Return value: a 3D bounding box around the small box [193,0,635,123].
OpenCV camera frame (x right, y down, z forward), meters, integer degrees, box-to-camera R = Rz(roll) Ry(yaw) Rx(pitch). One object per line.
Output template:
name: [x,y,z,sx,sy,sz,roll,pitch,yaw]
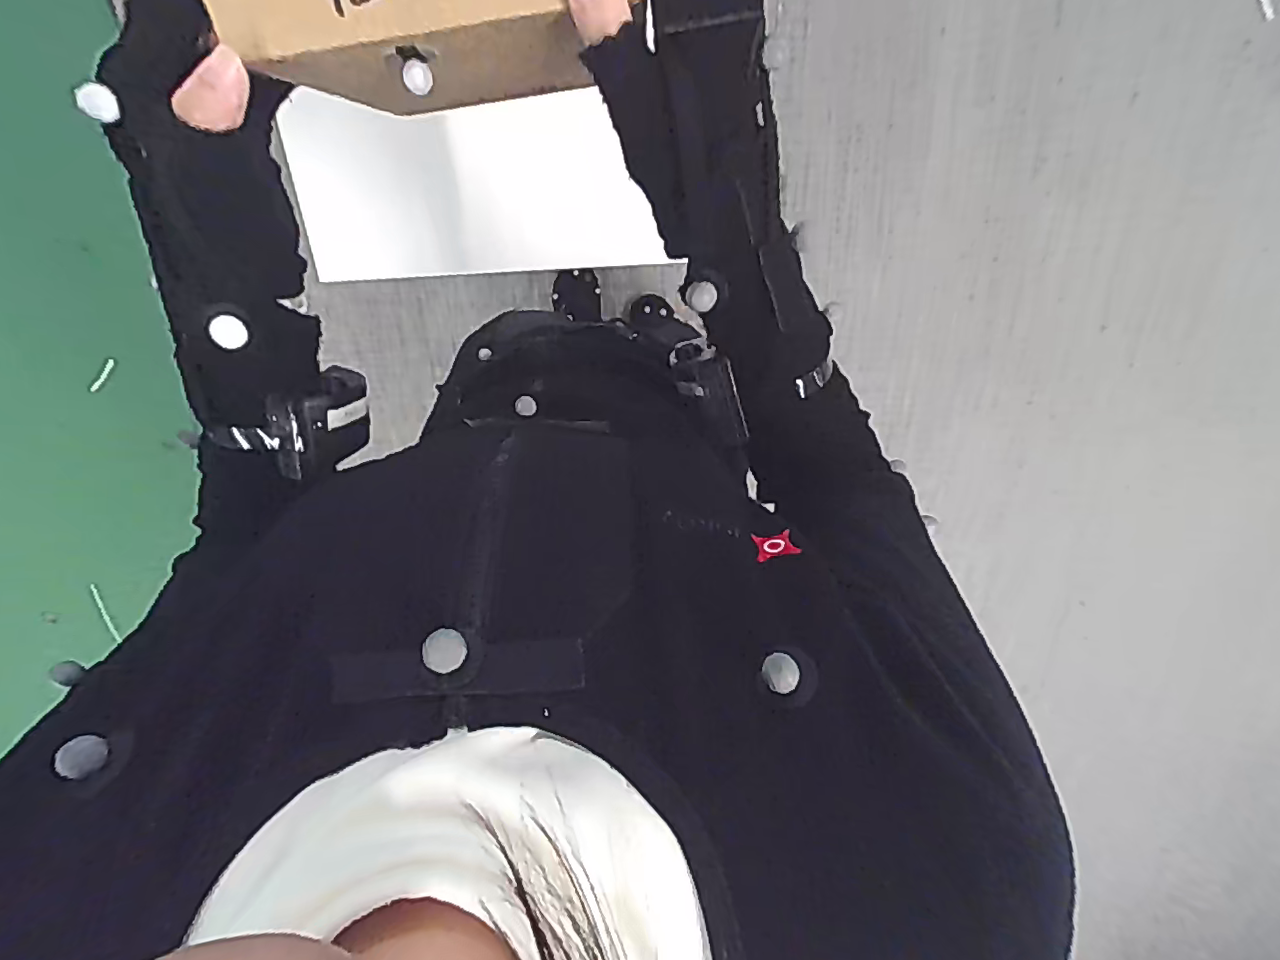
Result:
small box: [-0.095,-0.283,0.241,0.168,0.176,0.179,-7,117,3]
